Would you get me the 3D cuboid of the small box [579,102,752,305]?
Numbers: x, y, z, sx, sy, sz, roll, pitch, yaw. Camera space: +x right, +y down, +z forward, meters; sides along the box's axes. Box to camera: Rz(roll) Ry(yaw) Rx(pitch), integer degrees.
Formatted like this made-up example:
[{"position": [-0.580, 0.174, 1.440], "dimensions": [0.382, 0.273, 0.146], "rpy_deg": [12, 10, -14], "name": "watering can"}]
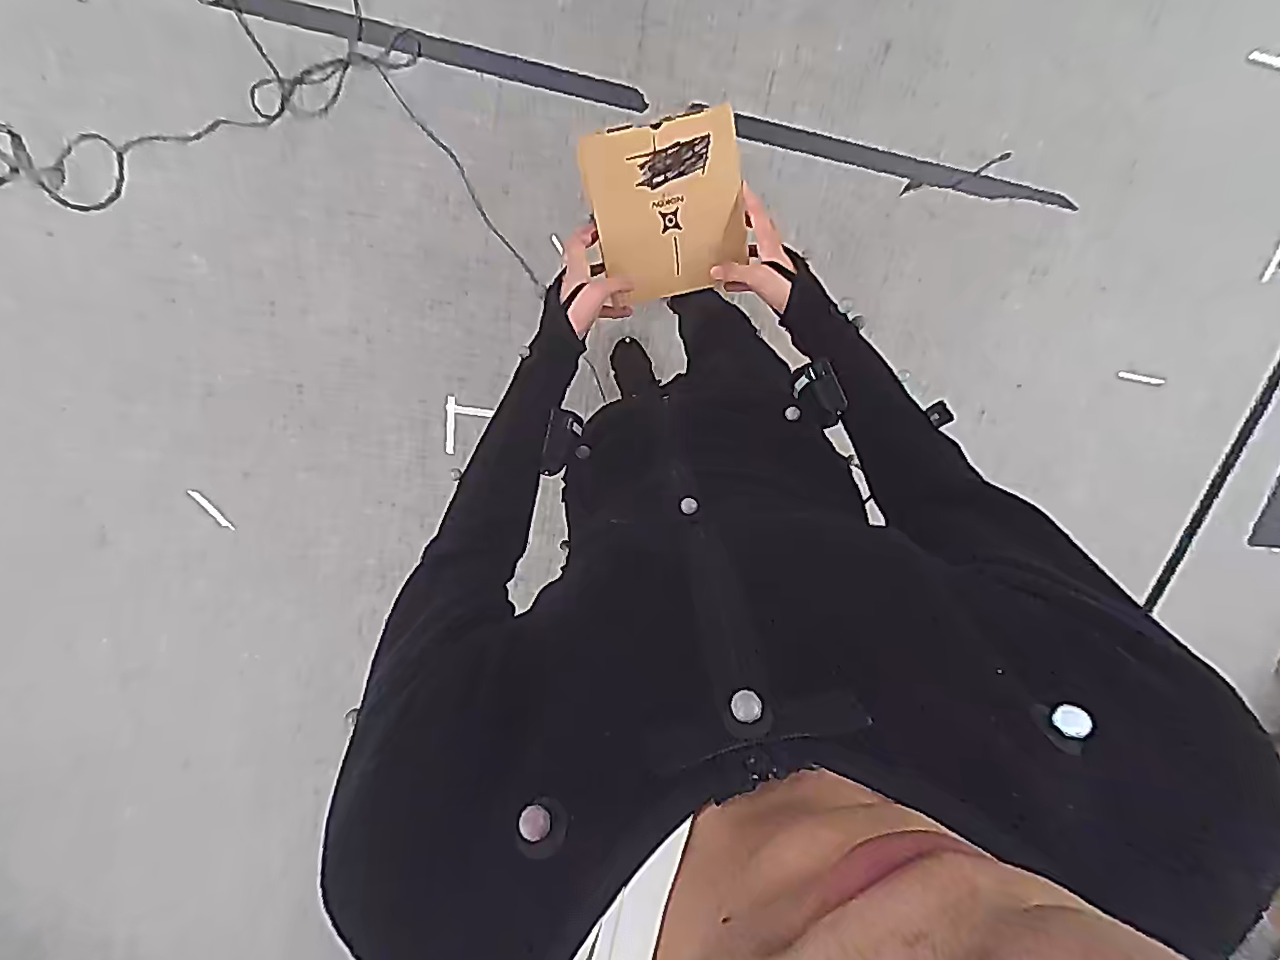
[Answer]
[{"position": [0.024, -0.321, 0.654], "dimensions": [0.168, 0.176, 0.179], "rpy_deg": [-13, 114, -1], "name": "small box"}]
